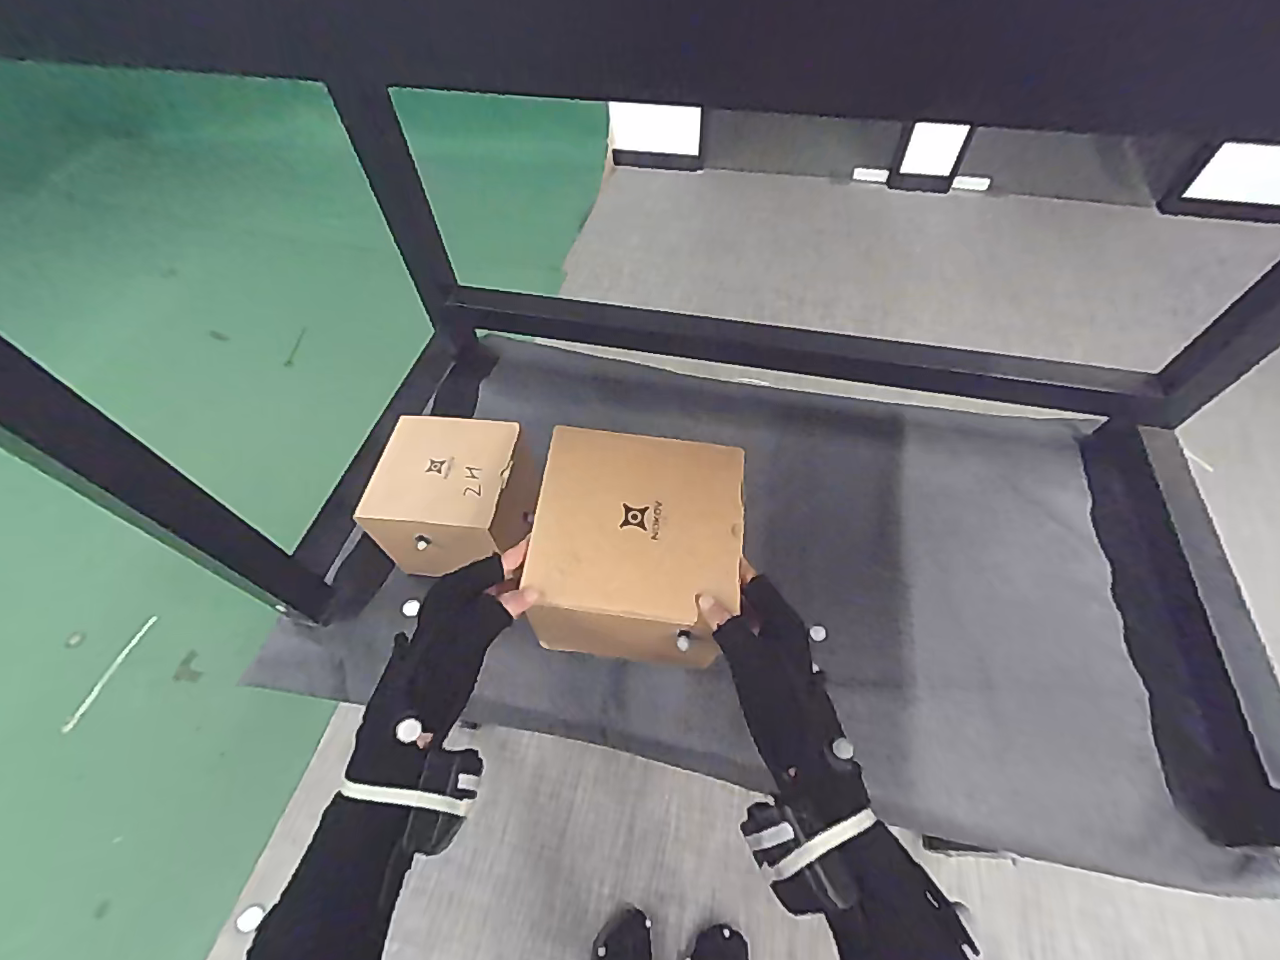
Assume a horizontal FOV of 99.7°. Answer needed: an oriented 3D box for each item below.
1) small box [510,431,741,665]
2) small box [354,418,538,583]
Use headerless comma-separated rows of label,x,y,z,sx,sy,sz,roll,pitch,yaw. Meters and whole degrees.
small box,-0.009,0.074,0.521,0.179,0.176,0.168,8,63,0
small box,-0.251,0.033,0.758,0.179,0.176,0.168,5,57,5
